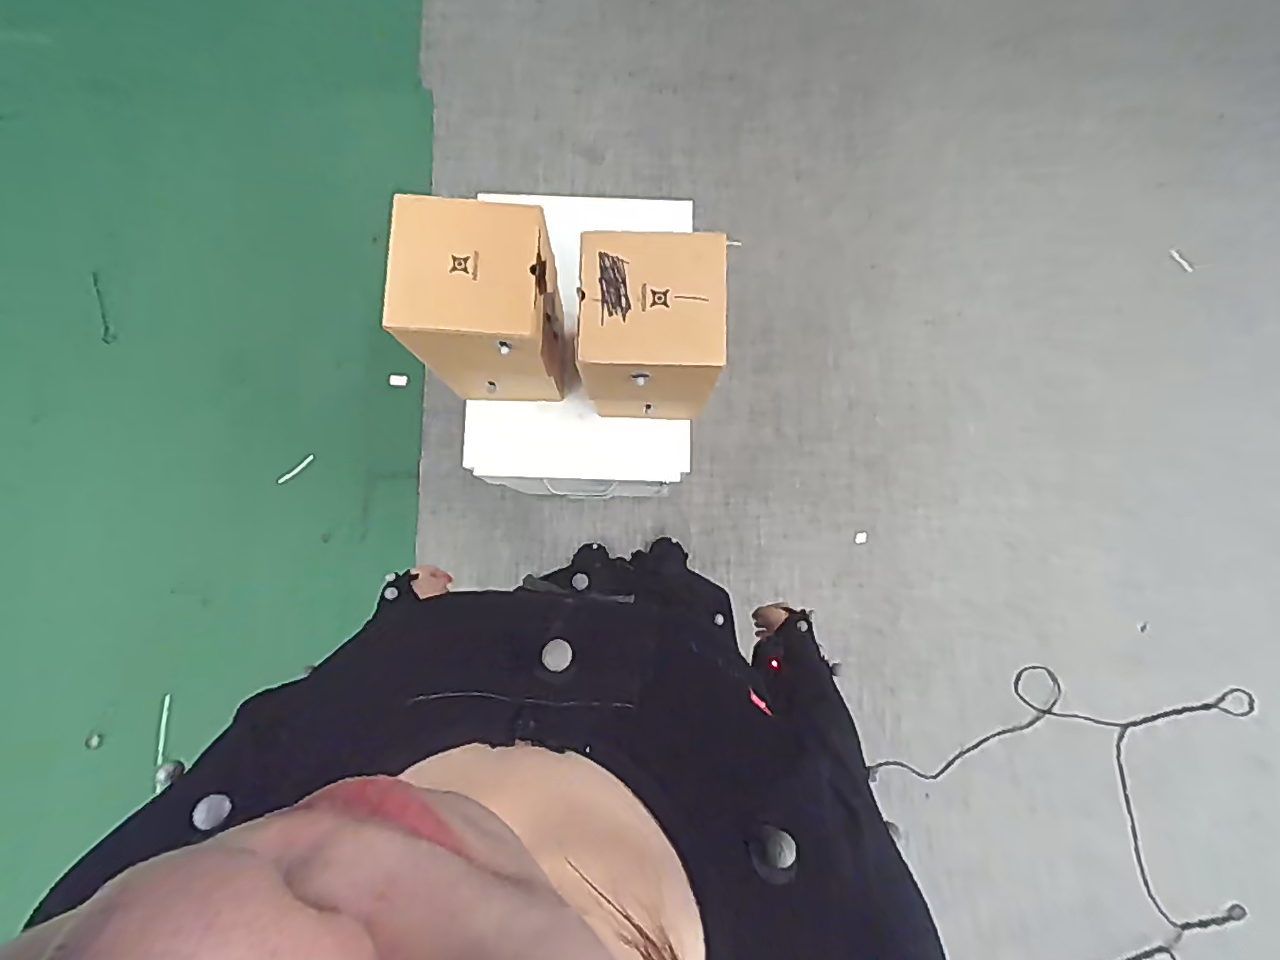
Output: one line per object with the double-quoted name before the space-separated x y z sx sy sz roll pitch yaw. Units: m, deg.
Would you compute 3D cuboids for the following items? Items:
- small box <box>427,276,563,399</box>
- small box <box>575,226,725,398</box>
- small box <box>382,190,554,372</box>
"small box" -0.223 -0.233 0.873 0.179 0.176 0.168 1 82 -2
"small box" 0.012 -0.210 0.716 0.179 0.176 0.168 1 83 -2
"small box" -0.212 -0.248 0.712 0.179 0.176 0.168 3 83 -5
